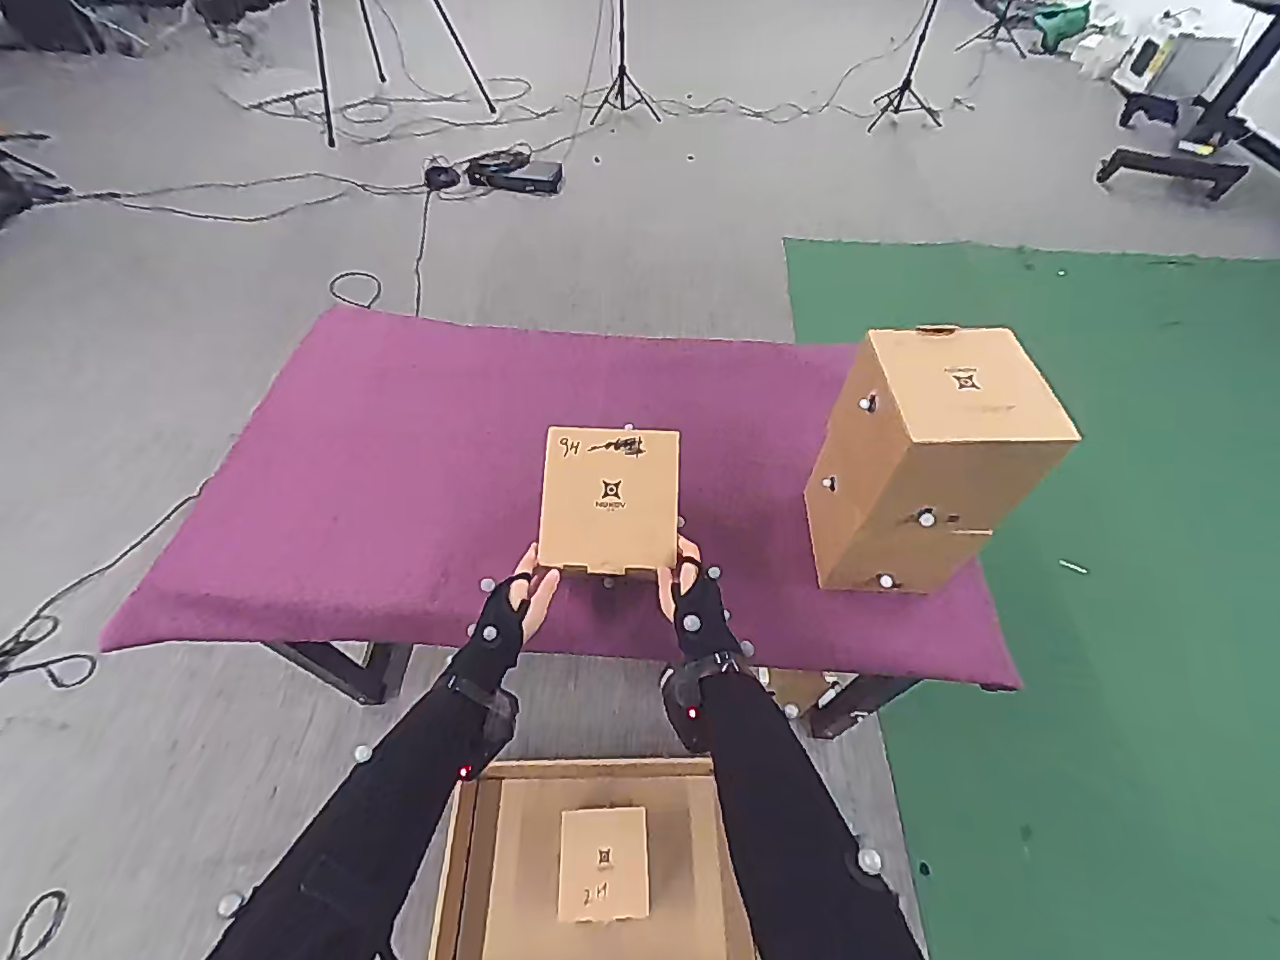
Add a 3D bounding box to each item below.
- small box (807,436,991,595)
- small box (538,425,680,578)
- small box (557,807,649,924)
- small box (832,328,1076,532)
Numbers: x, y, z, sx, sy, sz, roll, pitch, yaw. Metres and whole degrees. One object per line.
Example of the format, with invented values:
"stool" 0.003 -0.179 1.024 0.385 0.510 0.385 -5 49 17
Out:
"small box" 0.345 0.043 0.765 0.168 0.176 0.179 2 53 2
"small box" -0.035 0.038 0.731 0.168 0.176 0.179 3 75 0
"small box" -0.070 0.760 1.070 0.168 0.176 0.179 -1 55 -2
"small box" 0.341 -0.057 0.636 0.168 0.176 0.179 0 52 1
